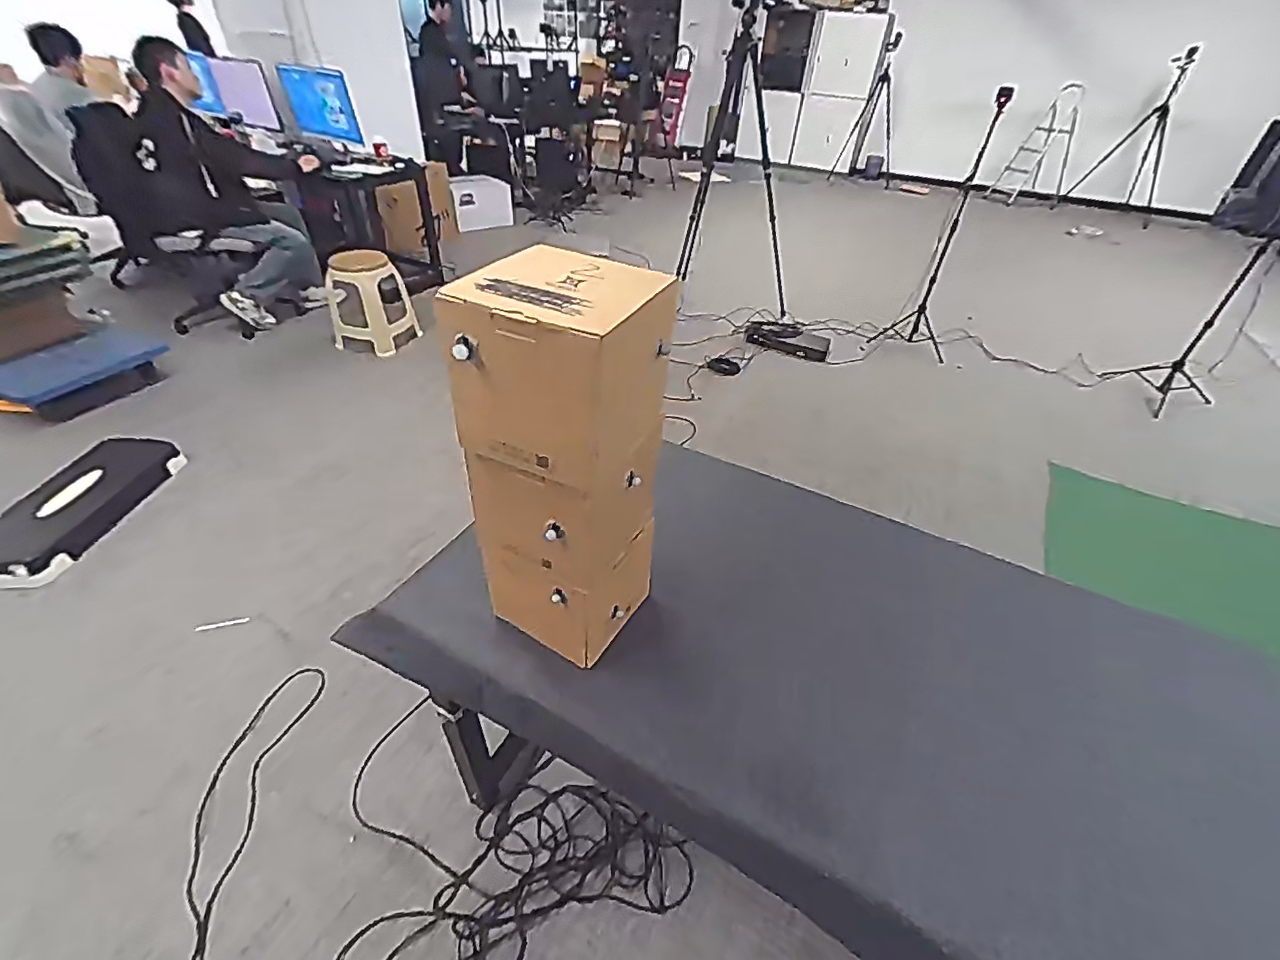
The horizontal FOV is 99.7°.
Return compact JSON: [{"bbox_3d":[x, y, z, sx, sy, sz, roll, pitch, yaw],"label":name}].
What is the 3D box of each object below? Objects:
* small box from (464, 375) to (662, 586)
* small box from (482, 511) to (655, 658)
[{"bbox_3d":[-0.087,-0.001,0.666,0.168,0.176,0.179,21,41,17],"label":"small box"},{"bbox_3d":[-0.099,0.120,0.775,0.179,0.176,0.168,25,42,21],"label":"small box"}]
